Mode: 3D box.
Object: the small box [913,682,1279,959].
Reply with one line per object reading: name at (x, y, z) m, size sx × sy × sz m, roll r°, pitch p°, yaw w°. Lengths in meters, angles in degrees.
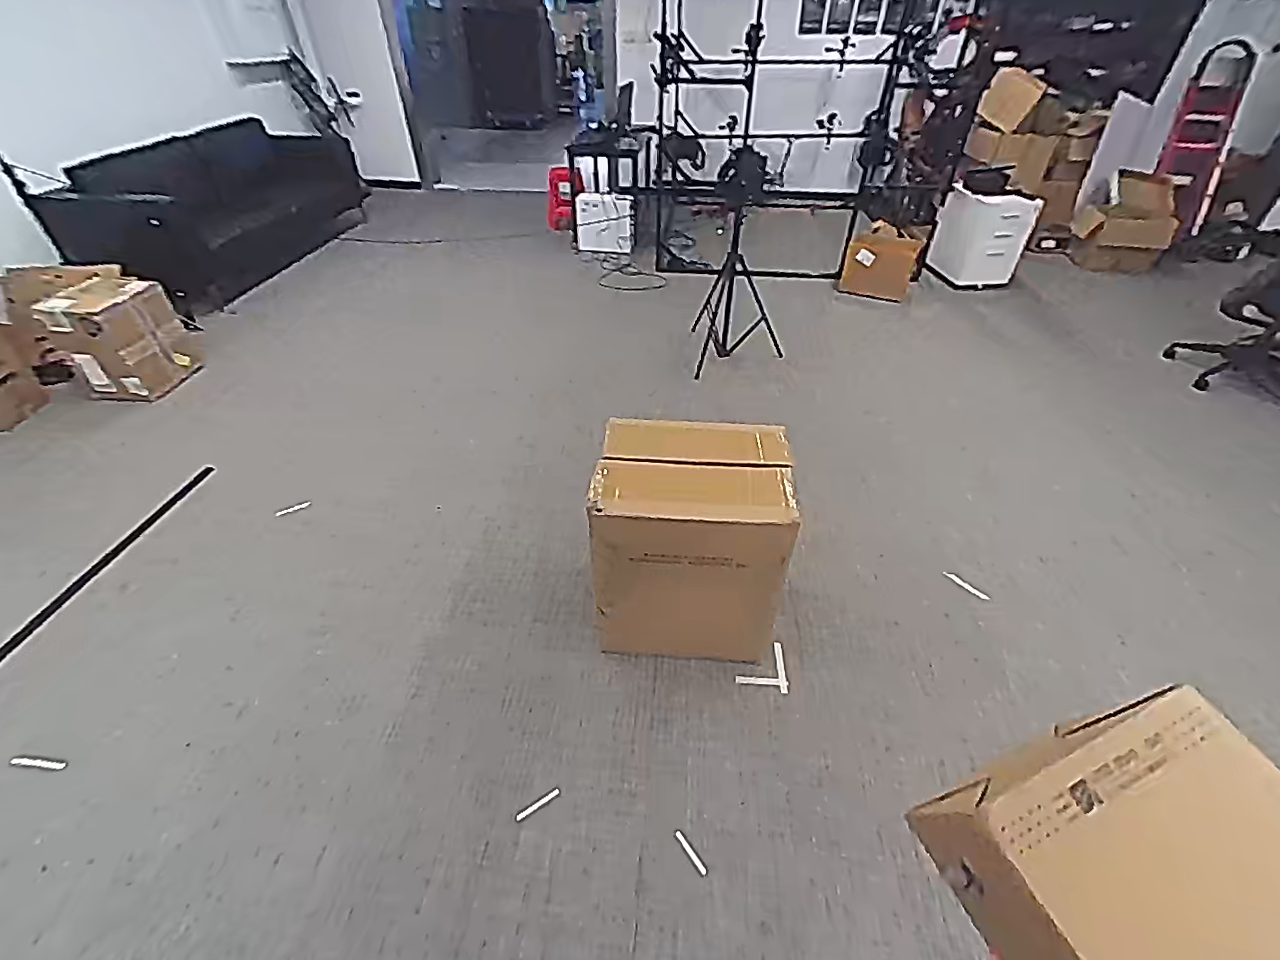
small box at (0.318, 0.257, 0.359) m, size 0.168 × 0.179 × 0.176 m, roll -27°, pitch 58°, yaw -5°
